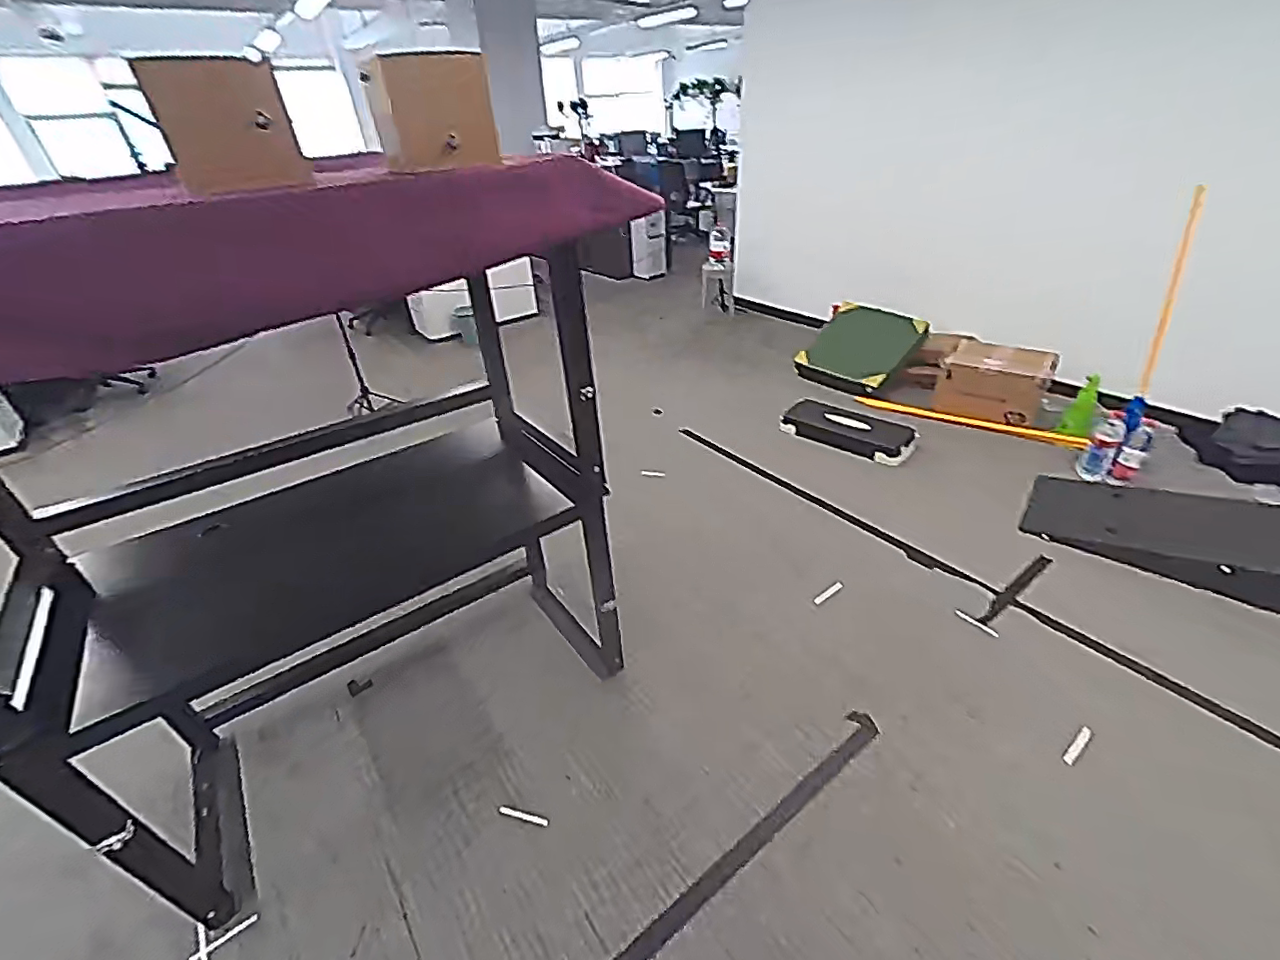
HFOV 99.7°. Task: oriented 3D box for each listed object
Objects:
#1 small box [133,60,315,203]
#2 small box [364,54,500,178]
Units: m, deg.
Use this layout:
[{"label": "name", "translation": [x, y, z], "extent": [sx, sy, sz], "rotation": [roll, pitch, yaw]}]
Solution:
[{"label": "small box", "translation": [-0.638, -0.545, 0.852], "extent": [0.179, 0.176, 0.168], "rotation": [-24, 37, -26]}, {"label": "small box", "translation": [-0.367, -0.652, 0.976], "extent": [0.179, 0.176, 0.168], "rotation": [-23, 37, -26]}]
